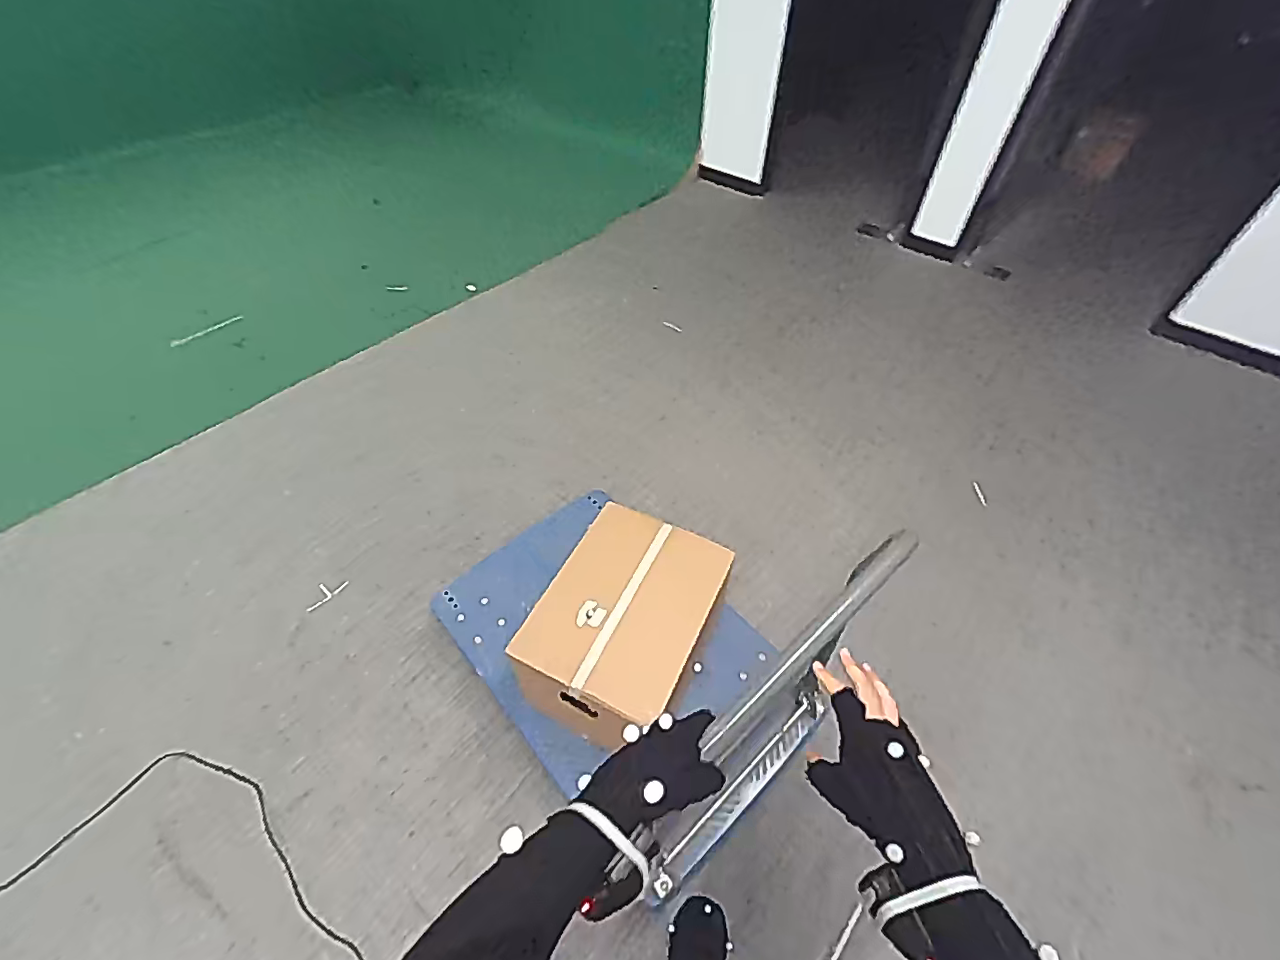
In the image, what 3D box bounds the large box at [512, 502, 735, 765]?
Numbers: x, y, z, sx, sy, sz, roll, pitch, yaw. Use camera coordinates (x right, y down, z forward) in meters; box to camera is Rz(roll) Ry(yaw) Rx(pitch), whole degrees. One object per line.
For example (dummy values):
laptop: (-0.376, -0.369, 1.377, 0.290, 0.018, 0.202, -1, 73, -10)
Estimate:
large box: (-0.021, 0.331, 1.194, 0.320, 0.320, 0.408, 22, 54, 17)
